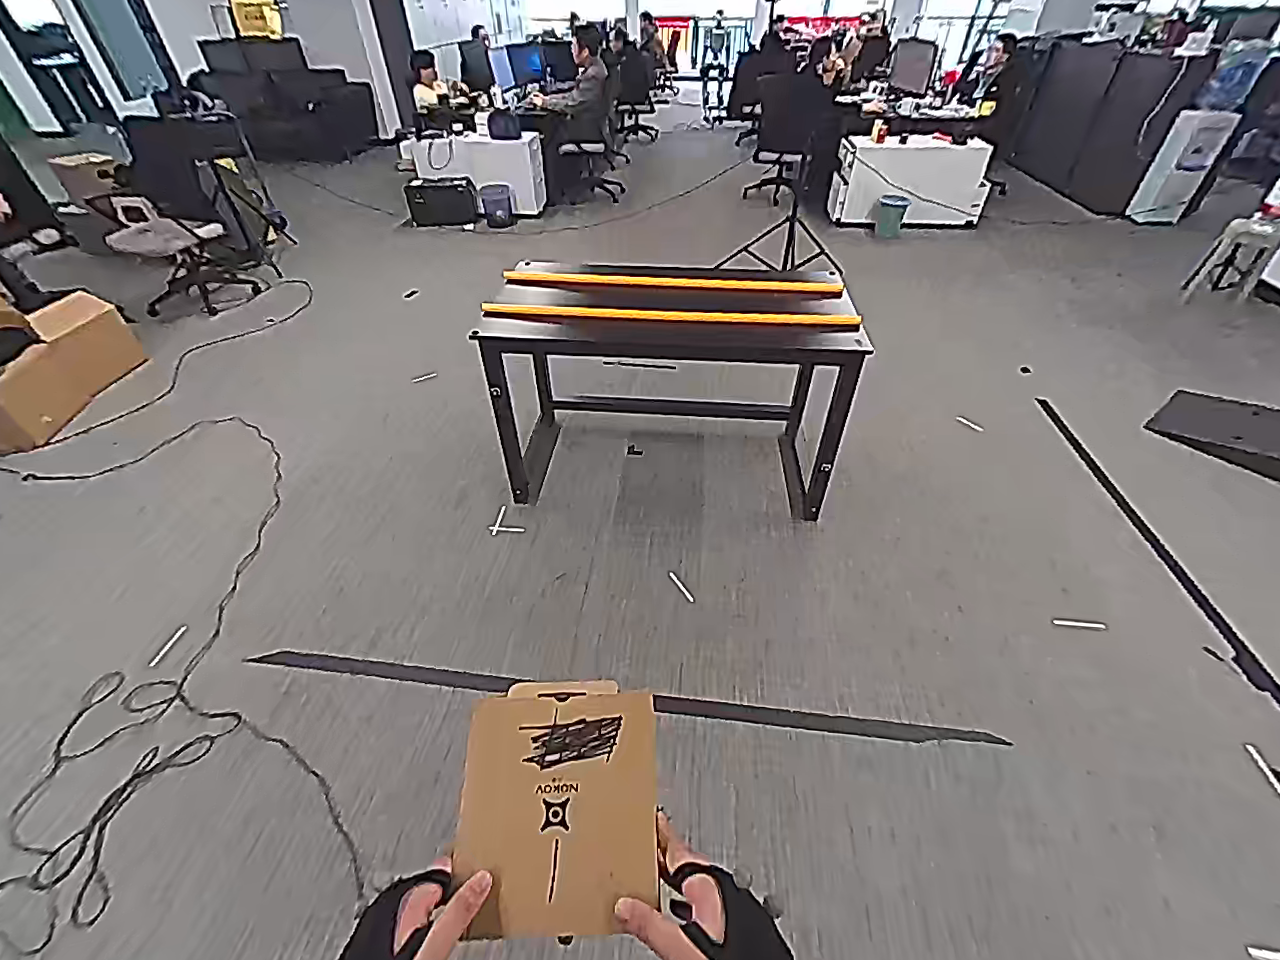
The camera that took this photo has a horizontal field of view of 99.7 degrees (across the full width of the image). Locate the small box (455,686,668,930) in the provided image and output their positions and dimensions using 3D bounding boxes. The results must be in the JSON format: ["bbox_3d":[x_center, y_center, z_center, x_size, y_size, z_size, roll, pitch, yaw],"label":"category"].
[{"bbox_3d":[-0.060,0.312,0.523,0.168,0.176,0.179,-3,57,1],"label":"small box"}]
